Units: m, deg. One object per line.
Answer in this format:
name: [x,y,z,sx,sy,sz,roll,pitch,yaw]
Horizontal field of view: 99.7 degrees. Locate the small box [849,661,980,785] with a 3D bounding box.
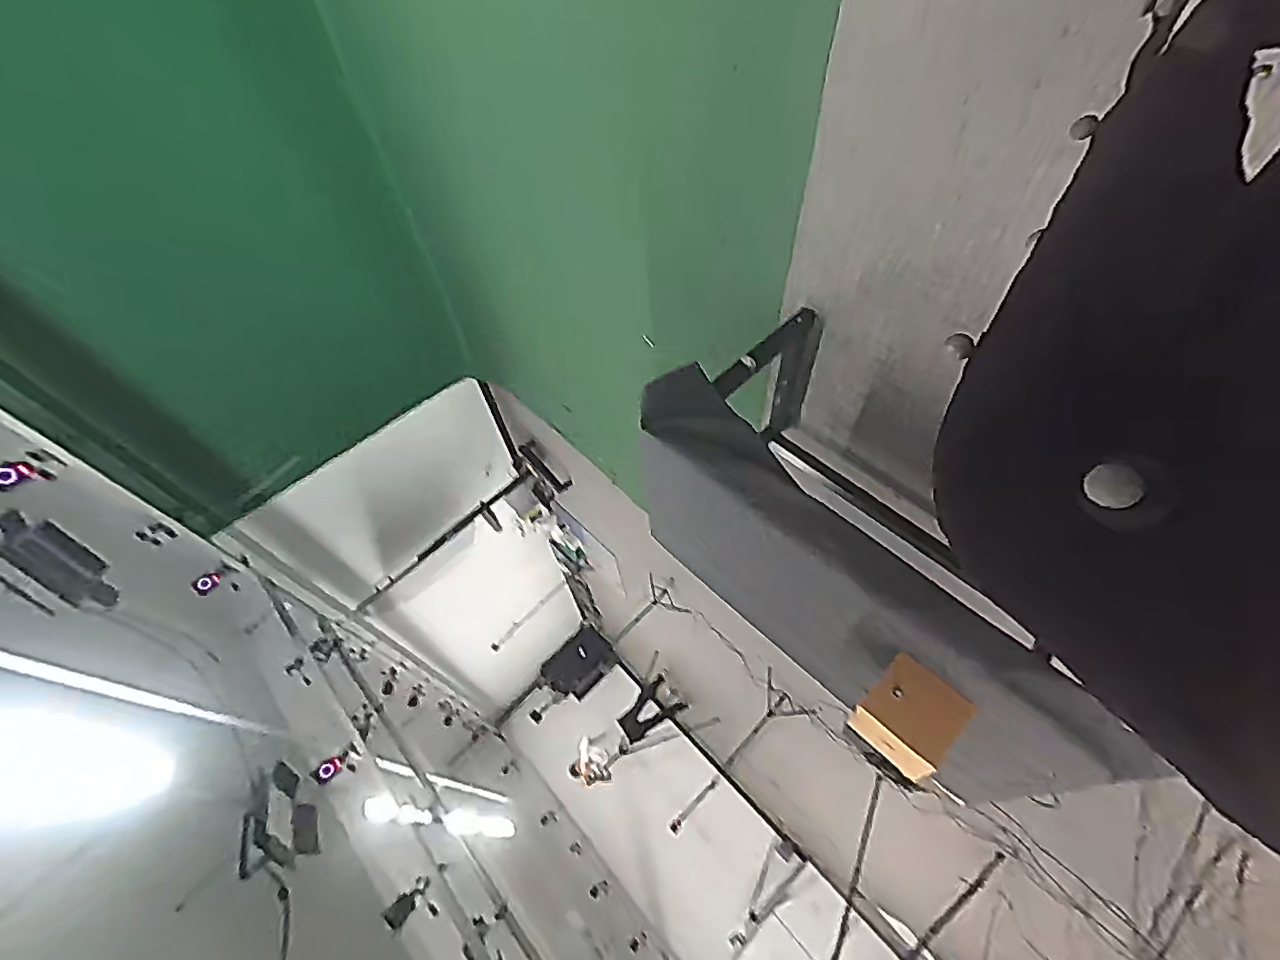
small box: [0.597,0.524,1.187,0.179,0.176,0.168,36,157,30]
